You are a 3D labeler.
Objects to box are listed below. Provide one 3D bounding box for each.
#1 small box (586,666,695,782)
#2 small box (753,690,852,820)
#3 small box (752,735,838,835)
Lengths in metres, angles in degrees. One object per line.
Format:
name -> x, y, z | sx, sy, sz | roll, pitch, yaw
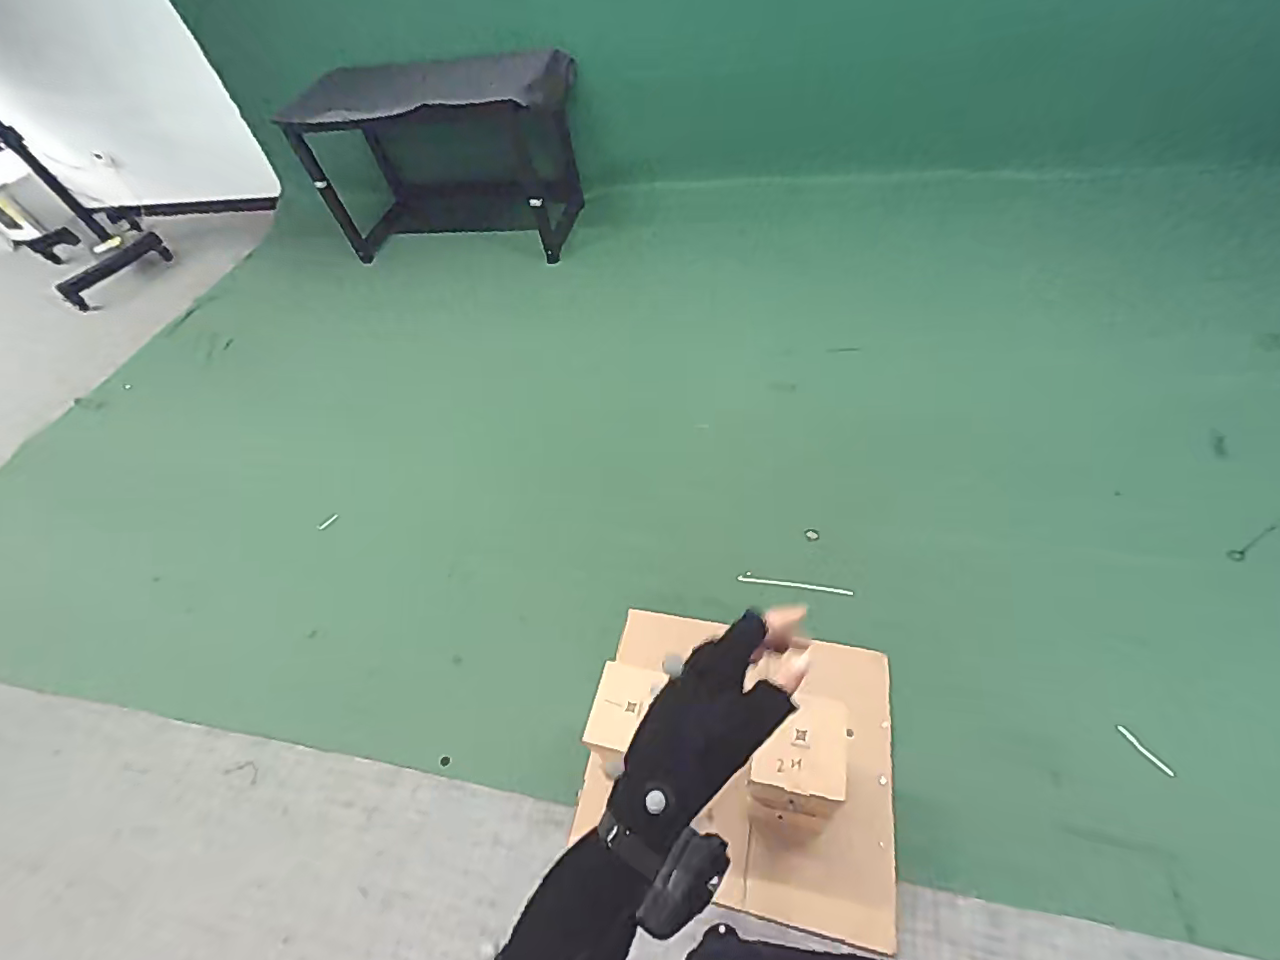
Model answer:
small box -> 0.011, 0.514, 1.132 | 0.179, 0.176, 0.168 | 7, 54, 18
small box -> 0.315, 0.539, 1.058 | 0.168, 0.176, 0.179 | 6, 53, 16
small box -> 0.335, 0.651, 1.180 | 0.168, 0.176, 0.179 | 4, 53, 14
